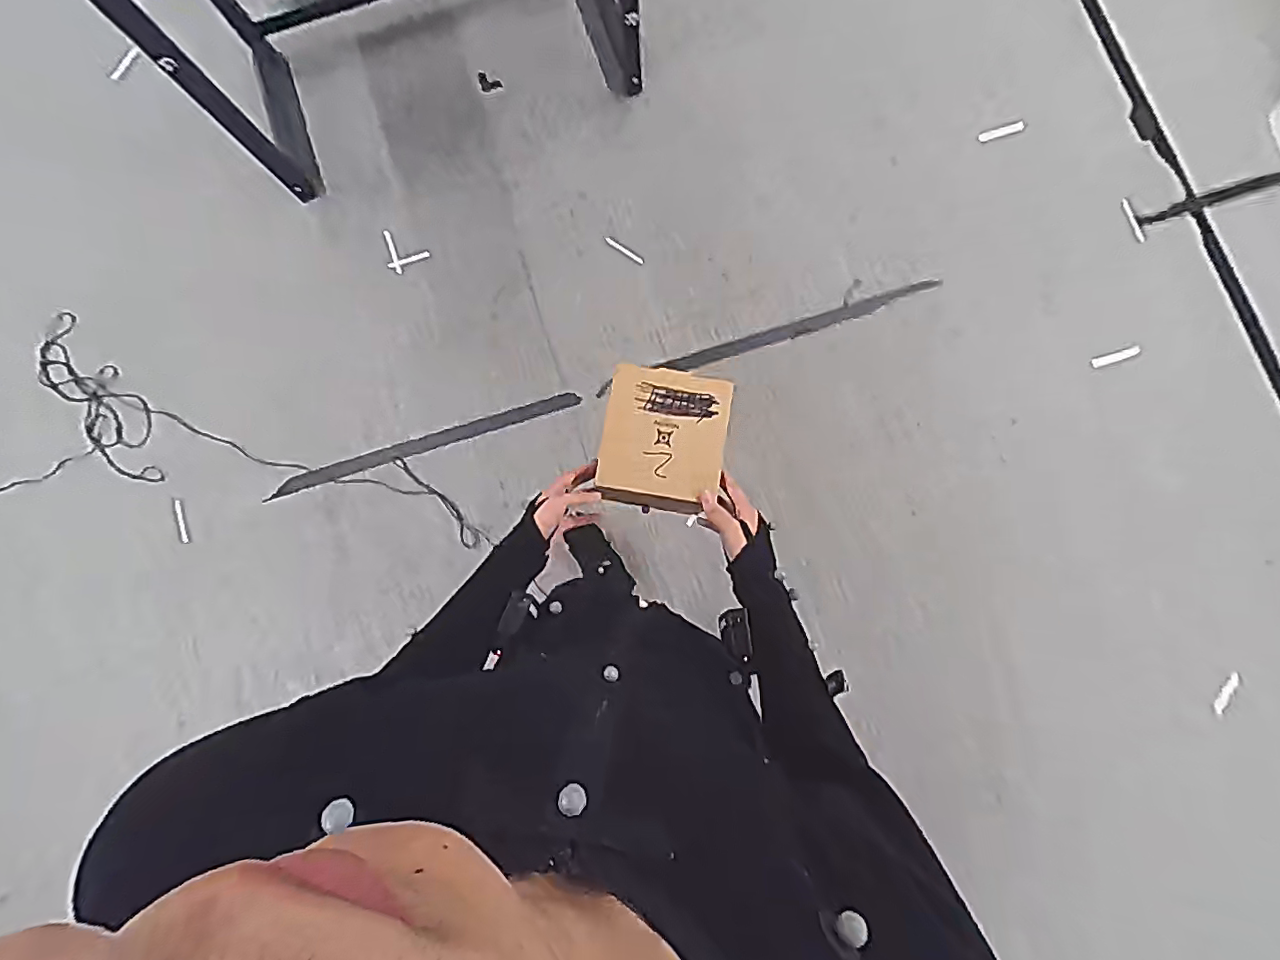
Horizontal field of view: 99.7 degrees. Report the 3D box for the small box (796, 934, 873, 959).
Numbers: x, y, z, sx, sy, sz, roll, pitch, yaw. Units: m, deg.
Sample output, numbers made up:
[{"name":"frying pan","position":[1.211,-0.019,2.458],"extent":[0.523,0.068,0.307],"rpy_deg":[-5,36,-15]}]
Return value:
[{"name":"small box","position":[0.418,1.049,1.043],"extent":[0.168,0.176,0.179],"rpy_deg":[-26,84,-1]}]
